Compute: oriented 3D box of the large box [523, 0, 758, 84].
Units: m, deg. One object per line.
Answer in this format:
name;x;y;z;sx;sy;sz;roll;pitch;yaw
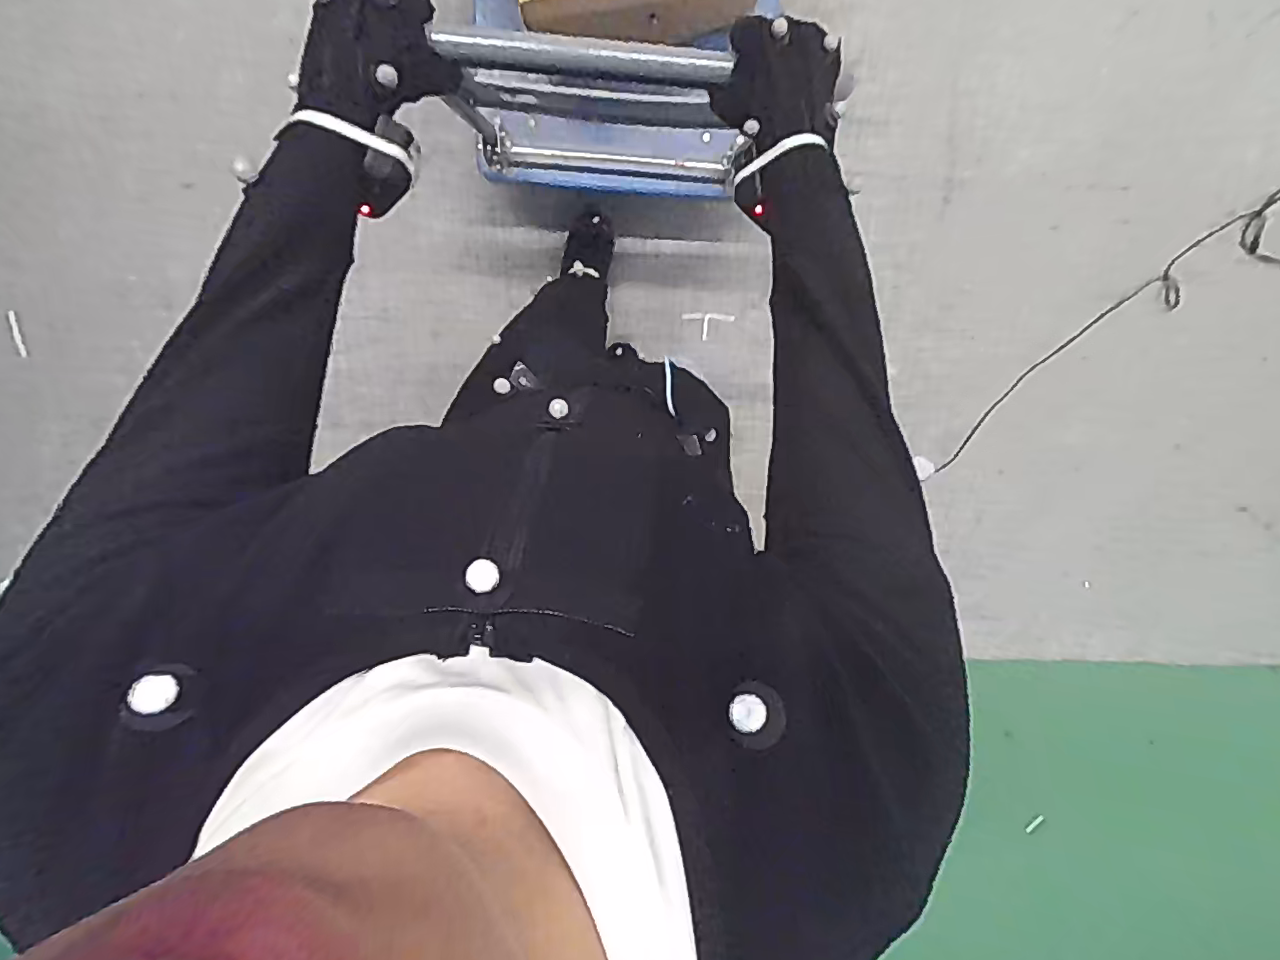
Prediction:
large box;-0.015;-0.917;0.861;0.408;0.320;0.320;-15;107;5
